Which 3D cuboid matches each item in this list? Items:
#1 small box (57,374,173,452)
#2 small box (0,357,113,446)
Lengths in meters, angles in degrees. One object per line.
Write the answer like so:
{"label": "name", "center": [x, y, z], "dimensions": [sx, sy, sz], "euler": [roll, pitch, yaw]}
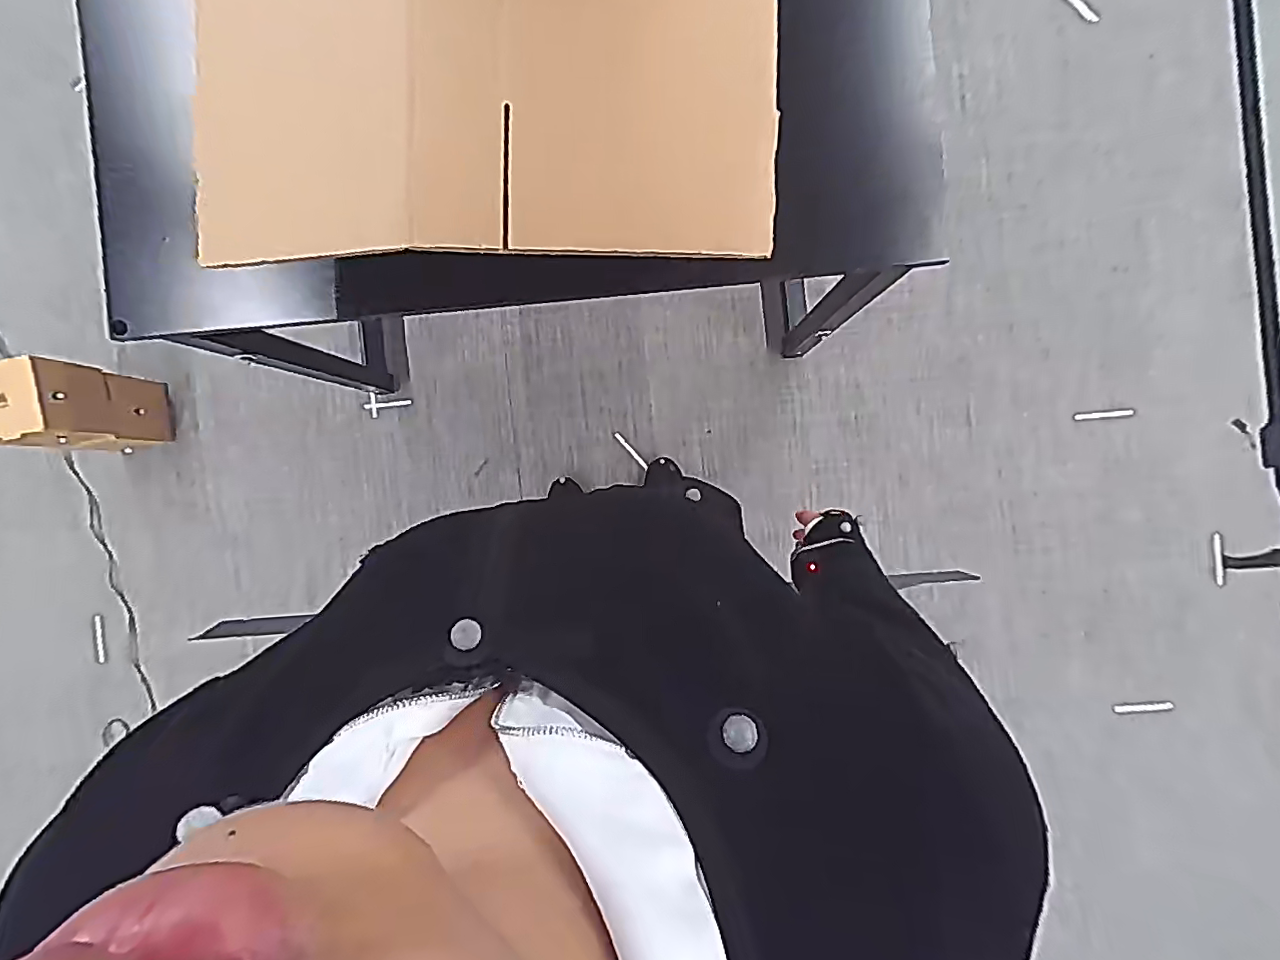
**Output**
{"label": "small box", "center": [-1.420, -0.175, 1.459], "dimensions": [0.168, 0.176, 0.179], "euler": [-9, 91, 2]}
{"label": "small box", "center": [-1.426, -0.179, 1.296], "dimensions": [0.168, 0.176, 0.179], "euler": [-11, 90, 1]}
